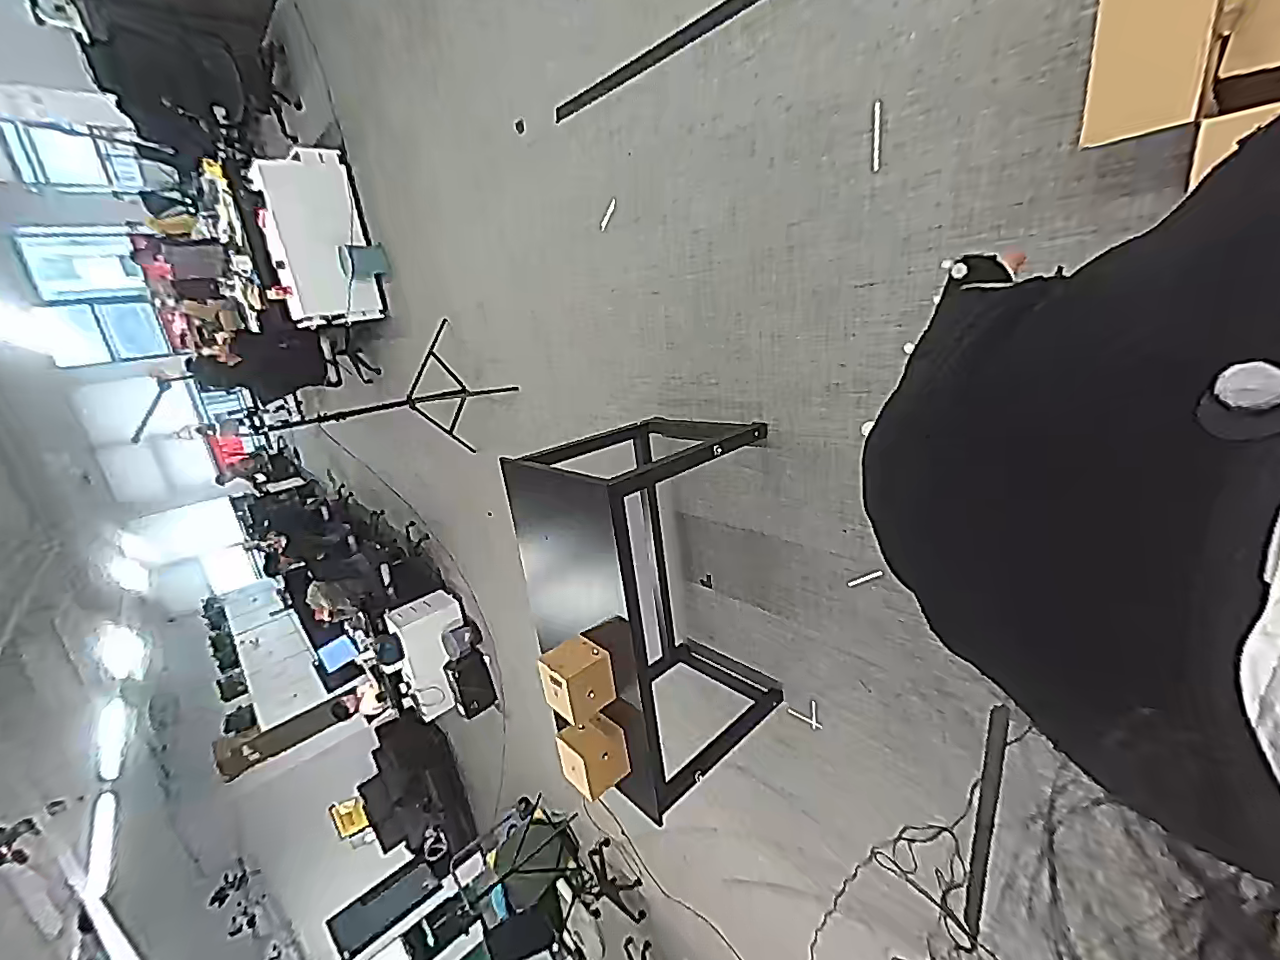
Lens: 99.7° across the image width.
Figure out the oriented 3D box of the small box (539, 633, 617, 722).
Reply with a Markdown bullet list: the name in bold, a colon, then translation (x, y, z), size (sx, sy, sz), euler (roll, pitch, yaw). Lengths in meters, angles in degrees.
- **small box**: translation (-0.195, 0.619, 1.723), size (0.168, 0.176, 0.179), euler (14, 119, 47)

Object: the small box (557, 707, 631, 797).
- **small box**: translation (-0.150, 0.899, 1.808), size (0.168, 0.176, 0.179), euler (10, 115, 50)
